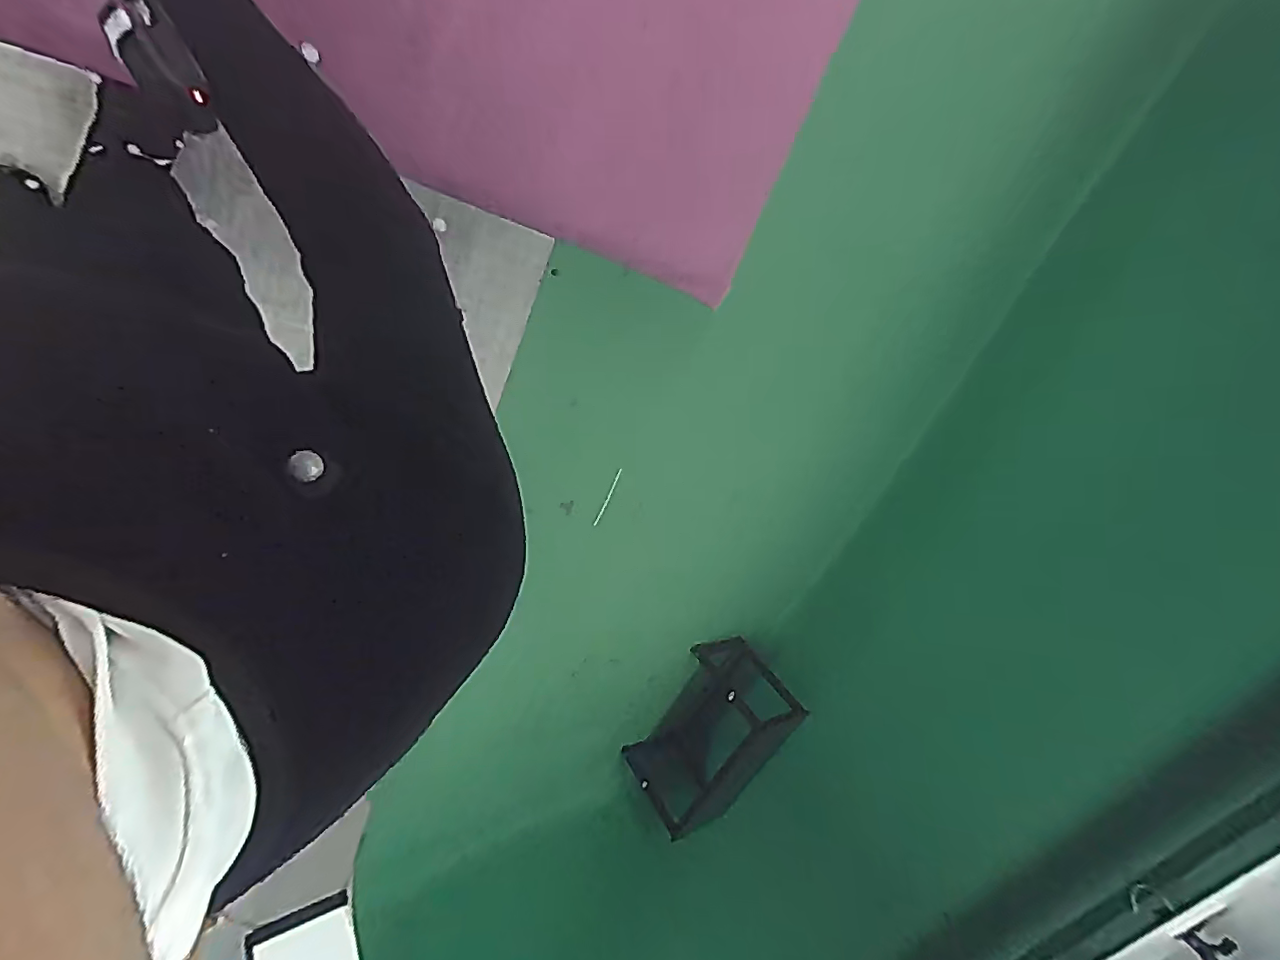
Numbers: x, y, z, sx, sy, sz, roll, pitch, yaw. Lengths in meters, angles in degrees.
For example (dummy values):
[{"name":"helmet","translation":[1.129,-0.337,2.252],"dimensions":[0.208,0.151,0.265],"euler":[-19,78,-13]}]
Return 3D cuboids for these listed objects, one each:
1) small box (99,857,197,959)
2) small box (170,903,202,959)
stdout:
[{"name":"small box","translation":[-1.256,1.121,1.384],"dimensions":[0.179,0.176,0.168],"euler":[3,125,-43]},{"name":"small box","translation":[-1.337,1.338,1.513],"dimensions":[0.168,0.176,0.179],"euler":[0,124,-40]}]
